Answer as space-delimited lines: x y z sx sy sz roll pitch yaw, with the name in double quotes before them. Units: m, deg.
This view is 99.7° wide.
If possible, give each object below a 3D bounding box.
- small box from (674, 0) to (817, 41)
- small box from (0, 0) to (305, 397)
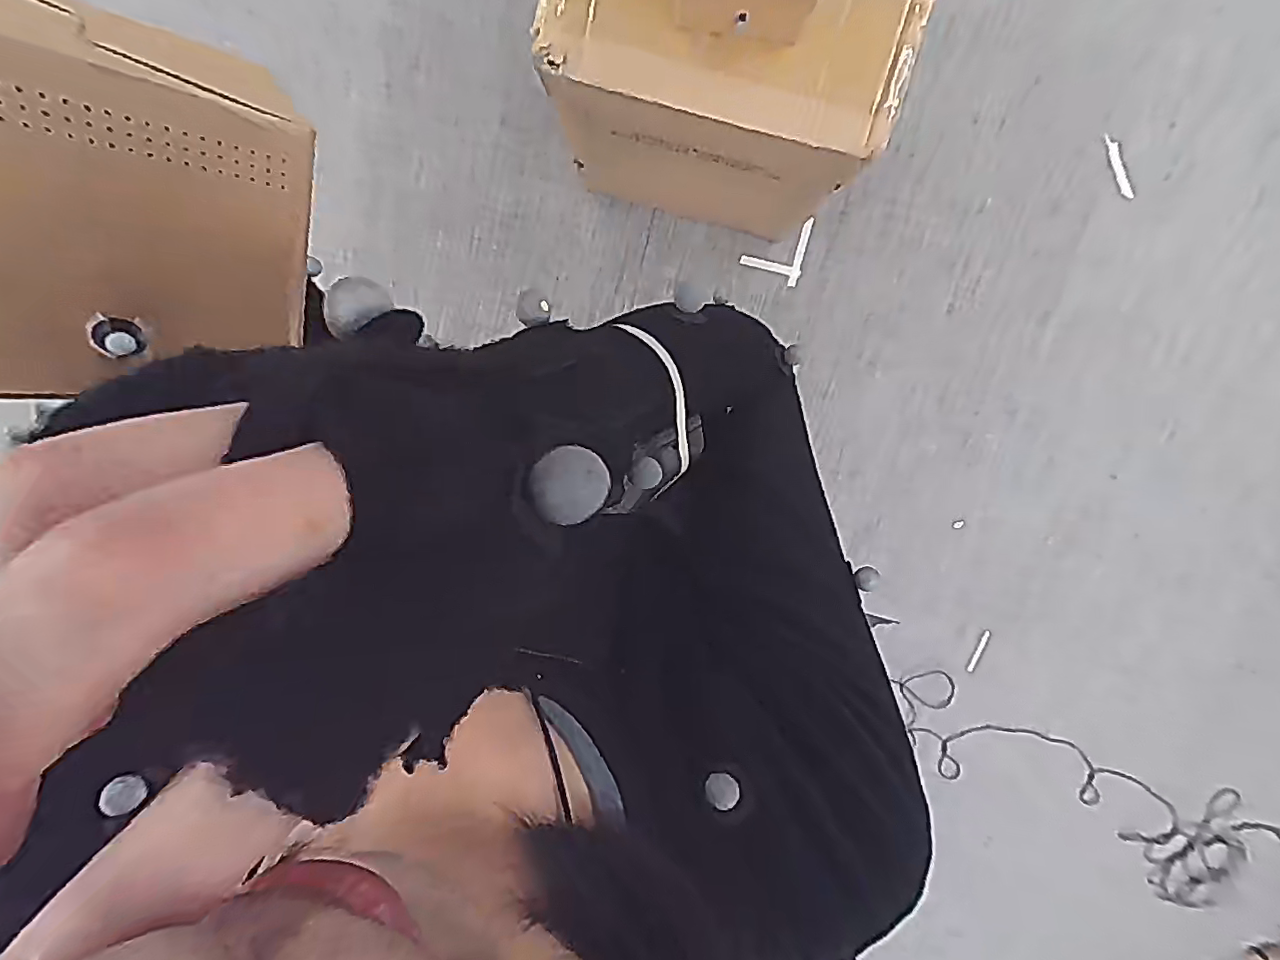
"small box" 0.141 -0.666 0.644 0.179 0.176 0.168 7 104 -1
"small box" -0.303 -0.164 0.304 0.179 0.168 0.176 -3 129 -40
